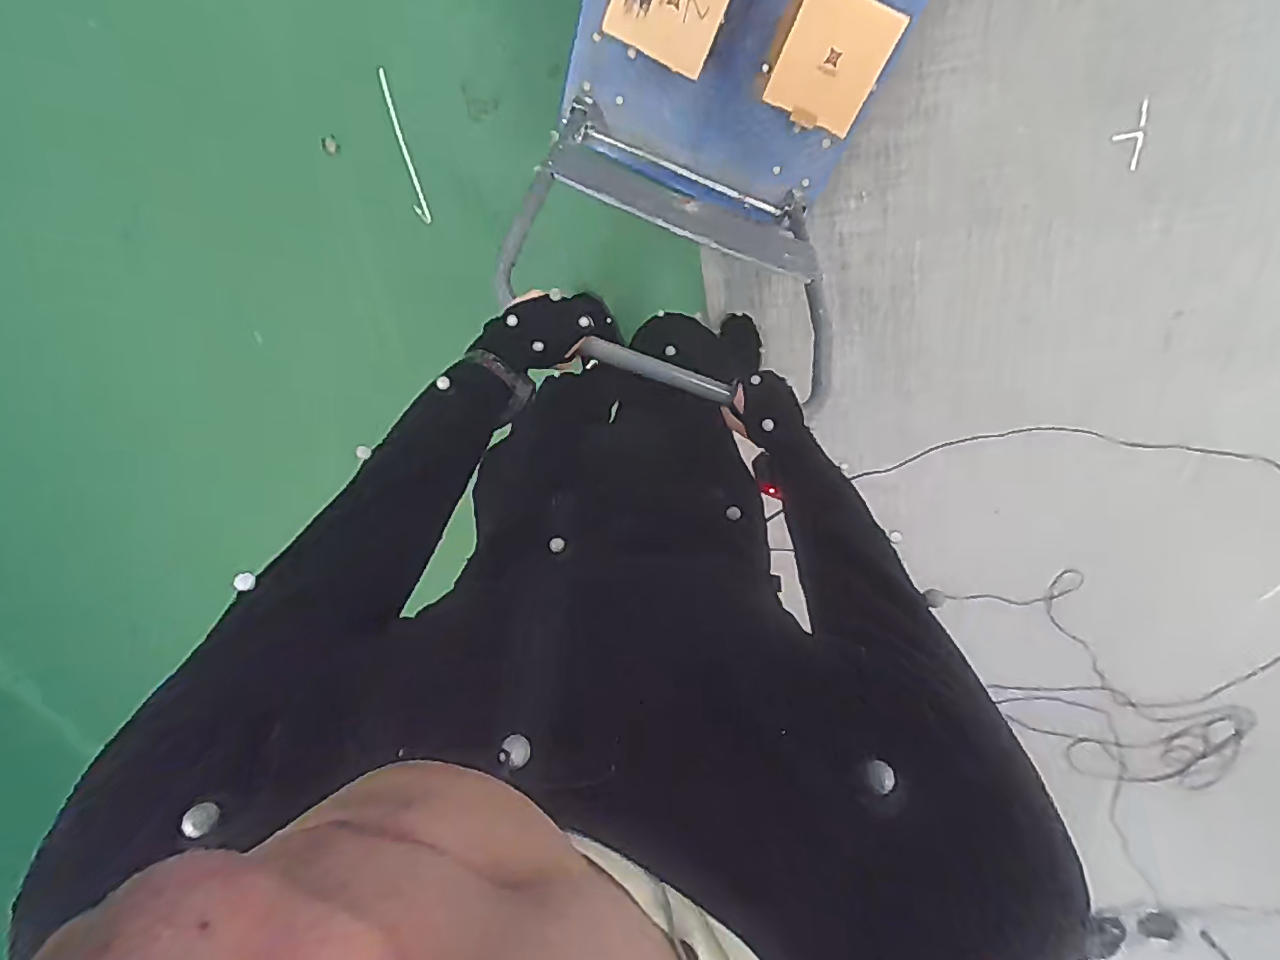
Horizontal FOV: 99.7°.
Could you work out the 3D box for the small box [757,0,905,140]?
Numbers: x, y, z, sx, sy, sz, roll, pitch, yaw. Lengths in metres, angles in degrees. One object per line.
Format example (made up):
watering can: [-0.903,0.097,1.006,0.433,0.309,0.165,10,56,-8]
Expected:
small box: [0.315,-0.739,0.938,0.168,0.176,0.179,18,135,-11]
